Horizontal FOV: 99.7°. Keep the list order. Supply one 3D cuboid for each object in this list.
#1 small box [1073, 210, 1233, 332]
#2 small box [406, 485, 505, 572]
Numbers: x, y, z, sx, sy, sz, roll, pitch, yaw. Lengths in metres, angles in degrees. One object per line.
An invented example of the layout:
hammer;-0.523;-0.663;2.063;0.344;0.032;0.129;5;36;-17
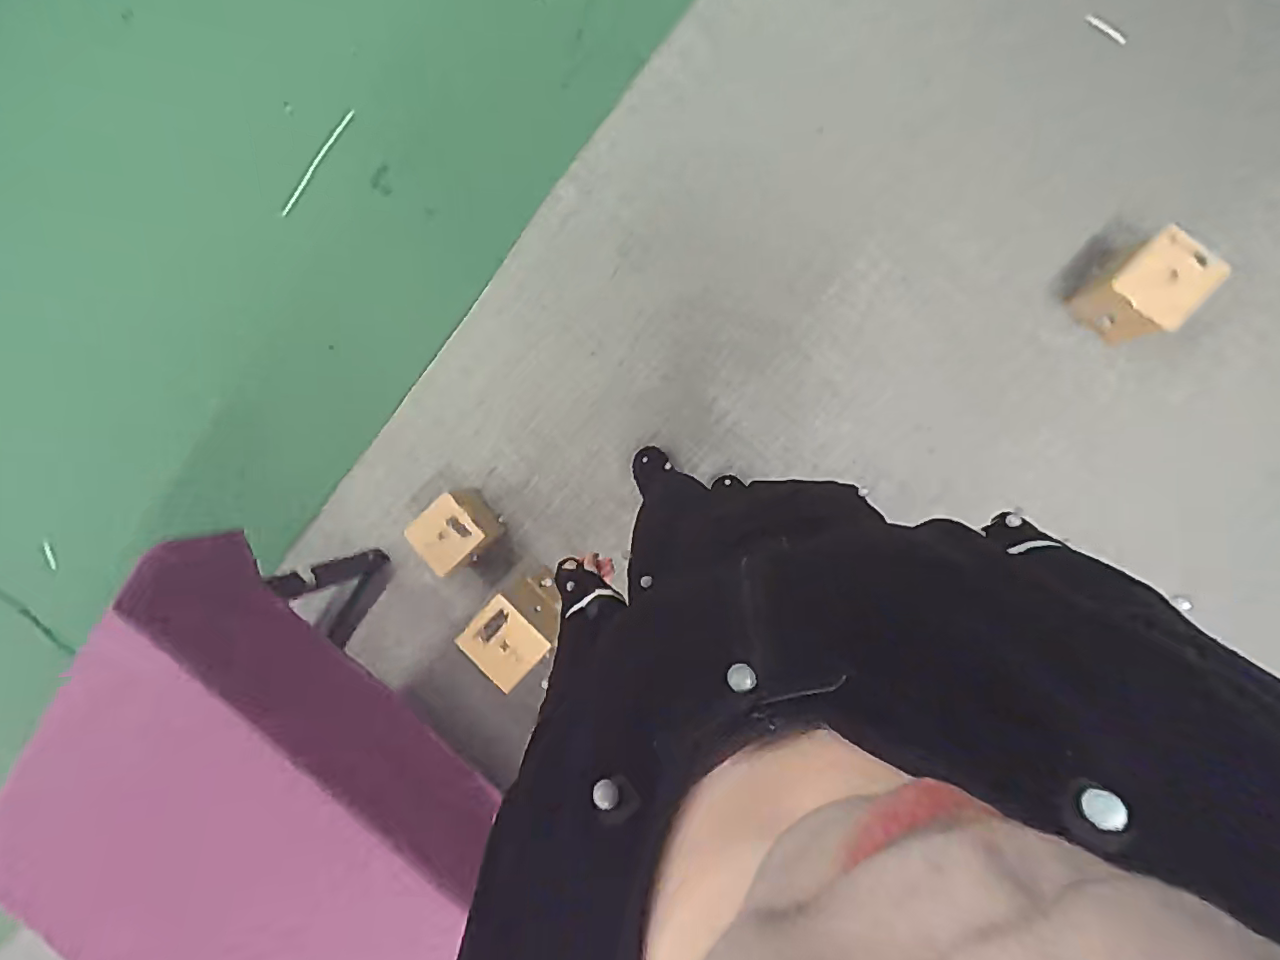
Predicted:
small box;1.149;-0.465;1.236;0.168;0.176;0.179;42;98;4
small box;-0.505;0.128;1.520;0.179;0.176;0.168;-43;86;9
